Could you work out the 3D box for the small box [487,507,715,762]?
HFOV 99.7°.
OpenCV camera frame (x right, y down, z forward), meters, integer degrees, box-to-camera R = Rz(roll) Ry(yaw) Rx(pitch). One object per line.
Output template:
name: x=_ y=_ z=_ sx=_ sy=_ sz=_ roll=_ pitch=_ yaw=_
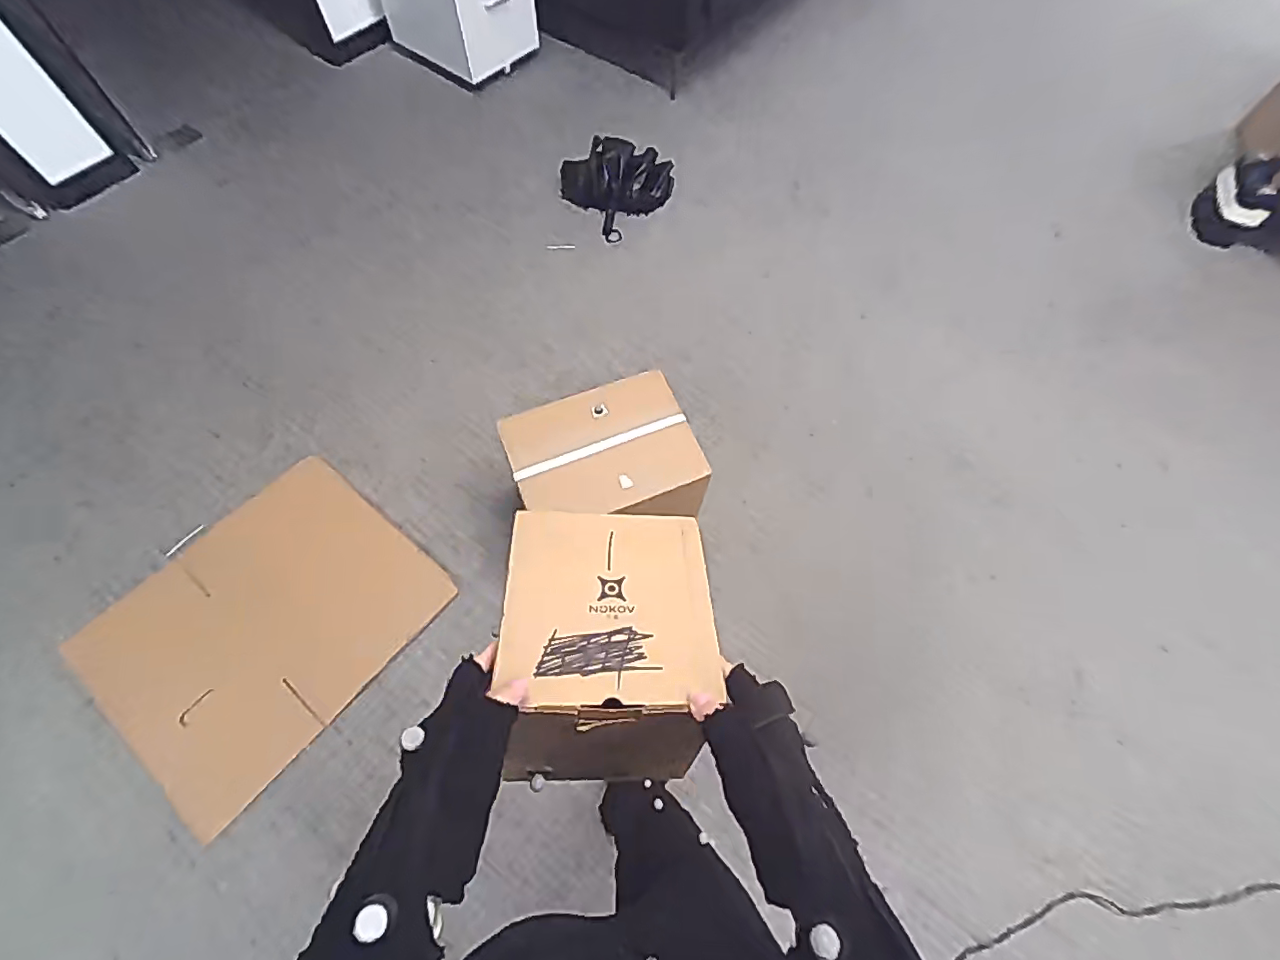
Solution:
small box: x=-0.036 y=0.144 z=0.495 sx=0.168 sy=0.176 sz=0.179 roll=1 pitch=46 yaw=-6
